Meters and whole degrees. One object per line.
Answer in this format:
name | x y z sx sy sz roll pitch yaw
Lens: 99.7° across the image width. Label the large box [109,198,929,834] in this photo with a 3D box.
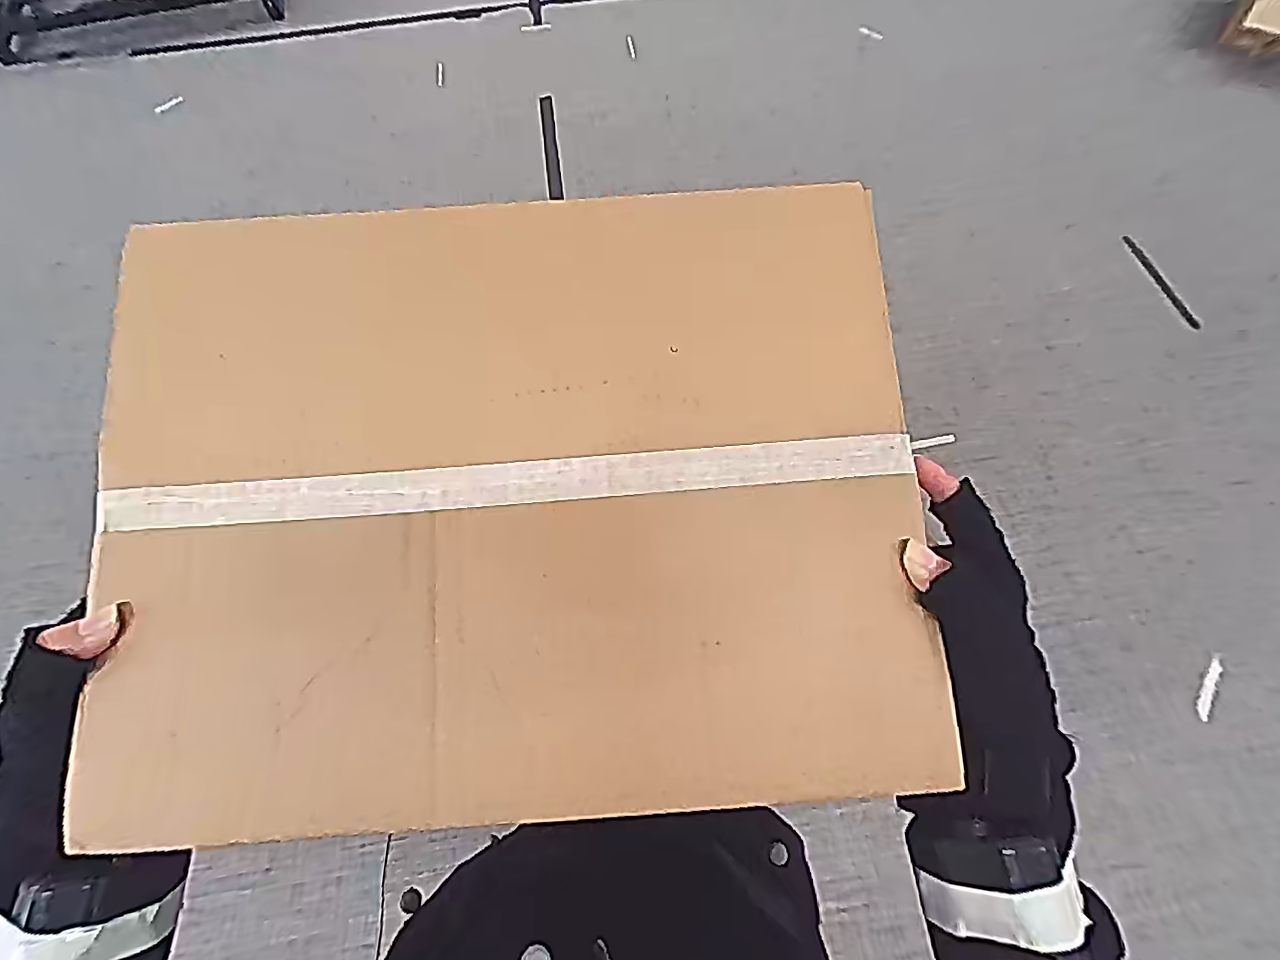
large box | -0.065 0.027 0.430 0.408 0.320 0.320 -4 79 -1
